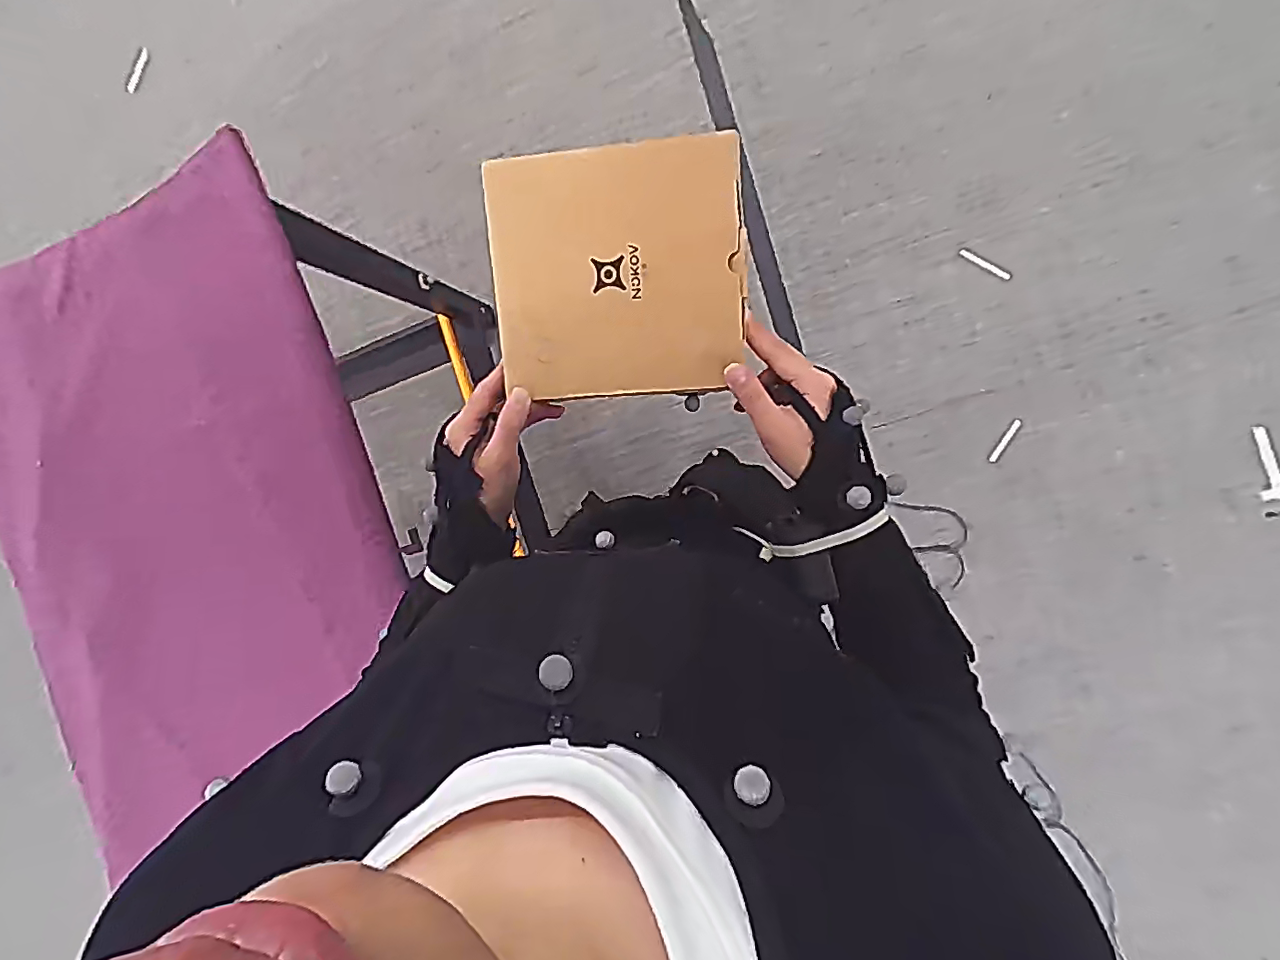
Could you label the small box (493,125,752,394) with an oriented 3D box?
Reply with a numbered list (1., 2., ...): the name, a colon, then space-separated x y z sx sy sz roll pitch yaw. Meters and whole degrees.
1. small box: -0.003 -0.159 0.450 0.179 0.176 0.168 -2 99 6
